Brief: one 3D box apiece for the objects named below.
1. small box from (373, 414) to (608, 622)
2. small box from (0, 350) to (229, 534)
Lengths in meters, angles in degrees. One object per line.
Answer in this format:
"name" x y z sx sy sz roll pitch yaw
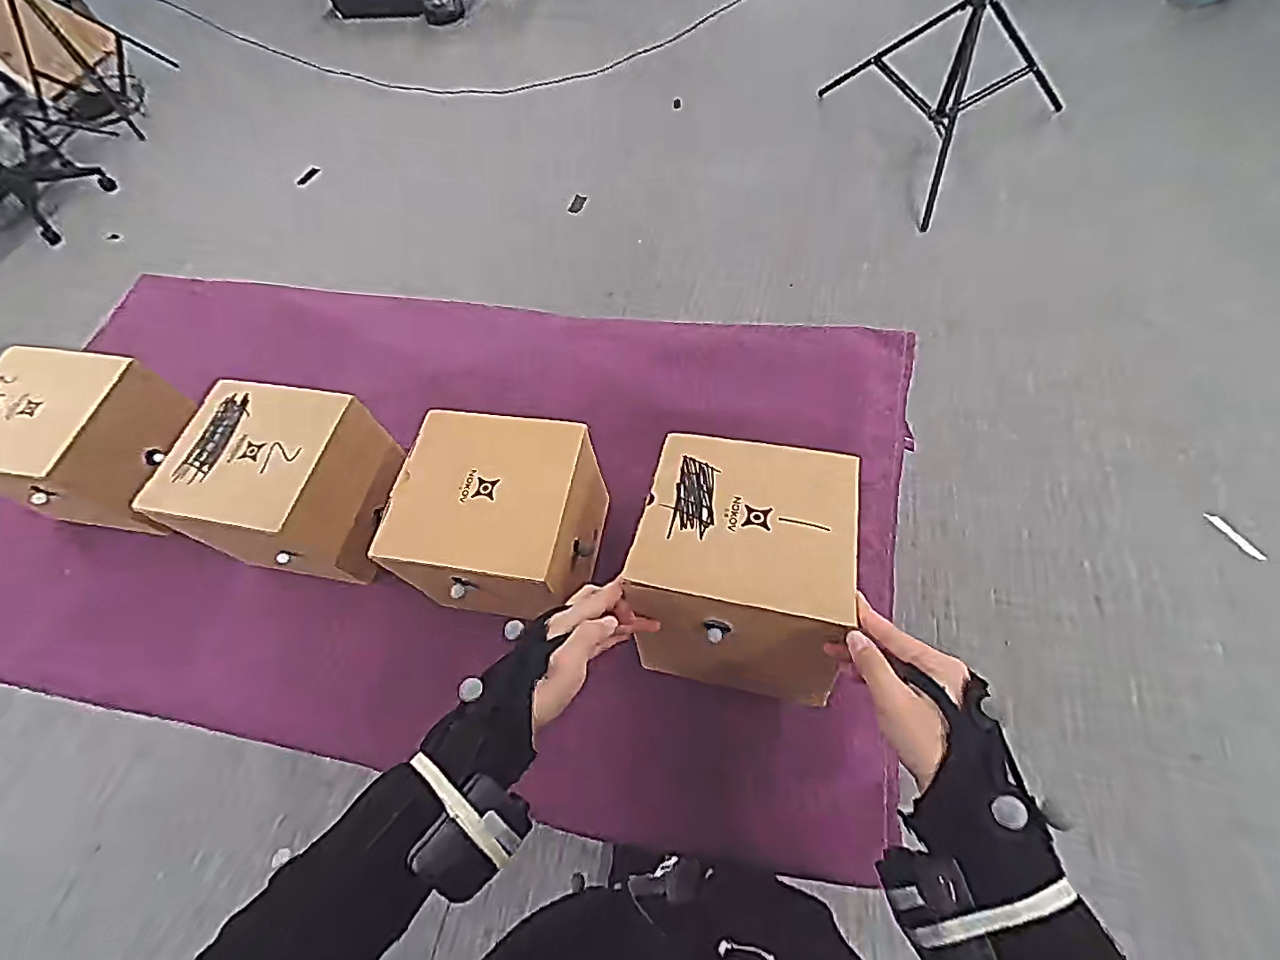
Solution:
"small box" -0.140 0.049 0.590 0.179 0.176 0.168 6 63 10
"small box" -0.692 -0.041 0.695 0.179 0.176 0.168 7 62 7
